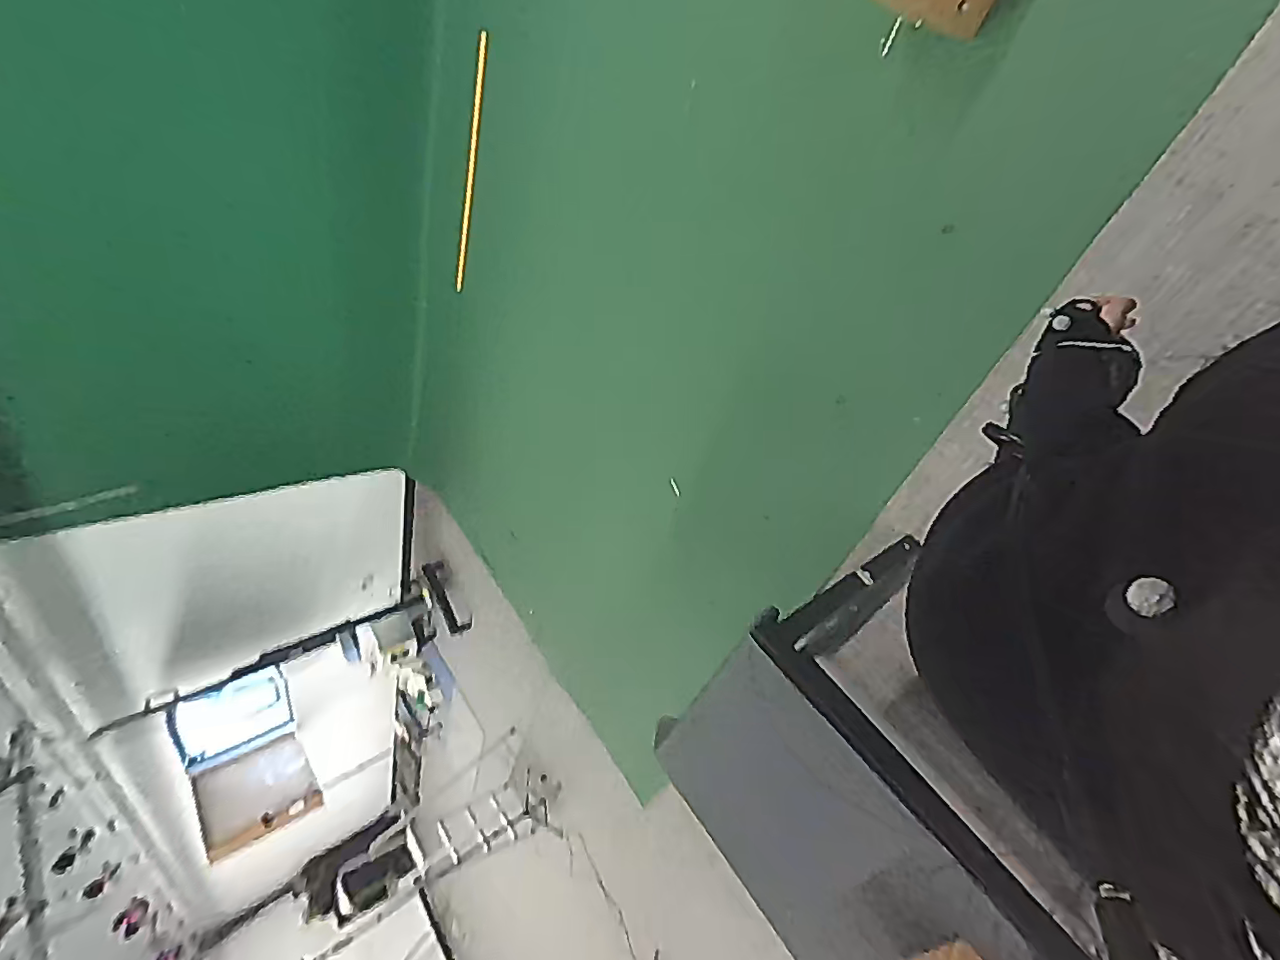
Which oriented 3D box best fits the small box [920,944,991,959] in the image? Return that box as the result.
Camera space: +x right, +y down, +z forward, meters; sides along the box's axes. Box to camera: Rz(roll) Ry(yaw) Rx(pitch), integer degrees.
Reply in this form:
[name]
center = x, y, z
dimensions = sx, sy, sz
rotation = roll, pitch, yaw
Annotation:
[small box]
center = 0.494, 0.865, 0.822
dimensions = 0.168, 0.176, 0.179
rotation = 46, 134, 29
